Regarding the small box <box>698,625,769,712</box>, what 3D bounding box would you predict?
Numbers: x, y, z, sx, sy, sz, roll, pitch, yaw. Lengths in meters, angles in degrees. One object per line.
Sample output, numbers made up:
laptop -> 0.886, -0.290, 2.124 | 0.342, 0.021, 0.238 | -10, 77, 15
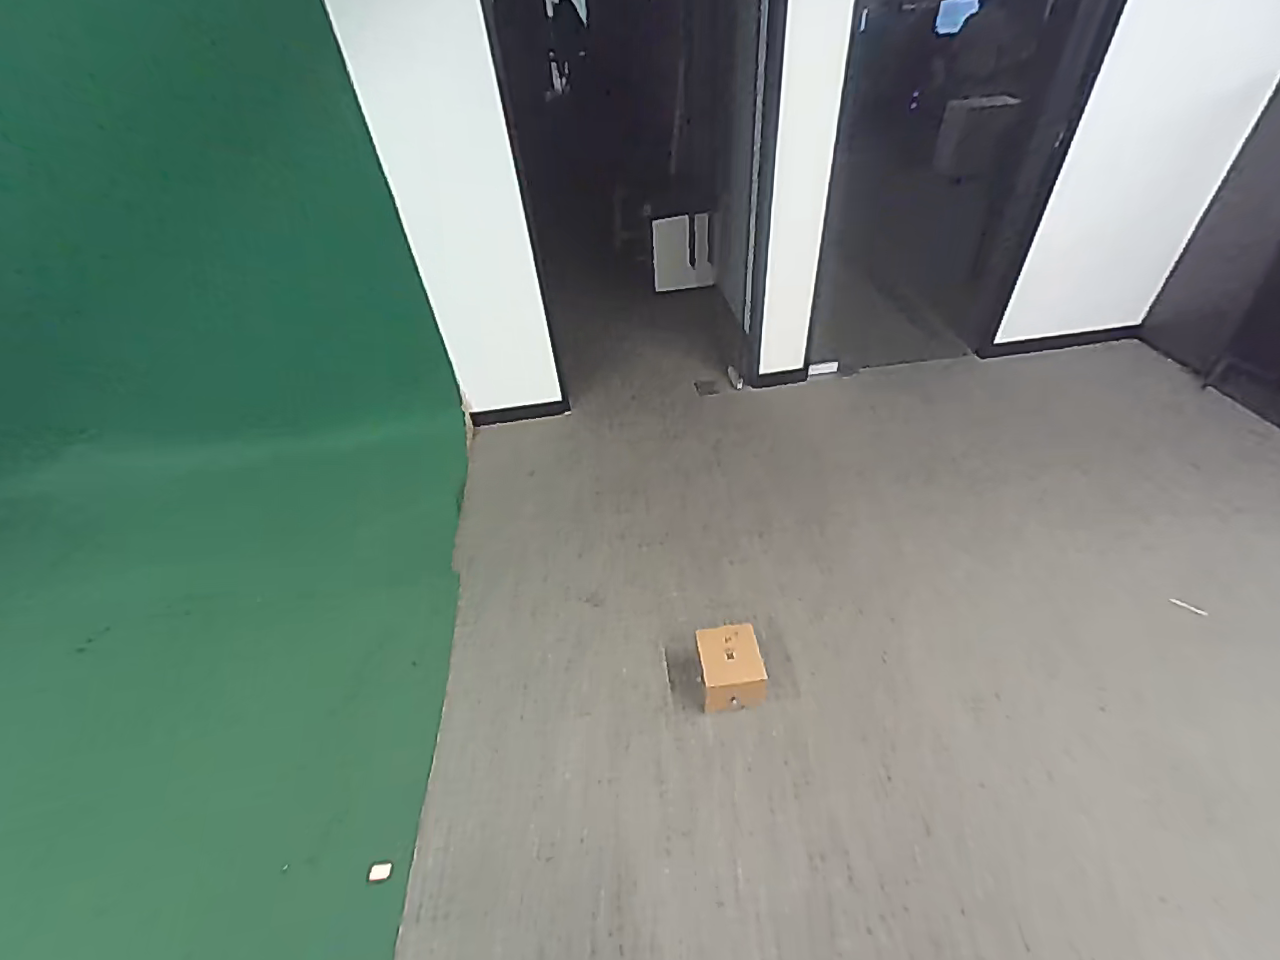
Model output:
small box -> 0.260, 0.538, 1.529 | 0.168, 0.176, 0.179 | -7, 42, -1
